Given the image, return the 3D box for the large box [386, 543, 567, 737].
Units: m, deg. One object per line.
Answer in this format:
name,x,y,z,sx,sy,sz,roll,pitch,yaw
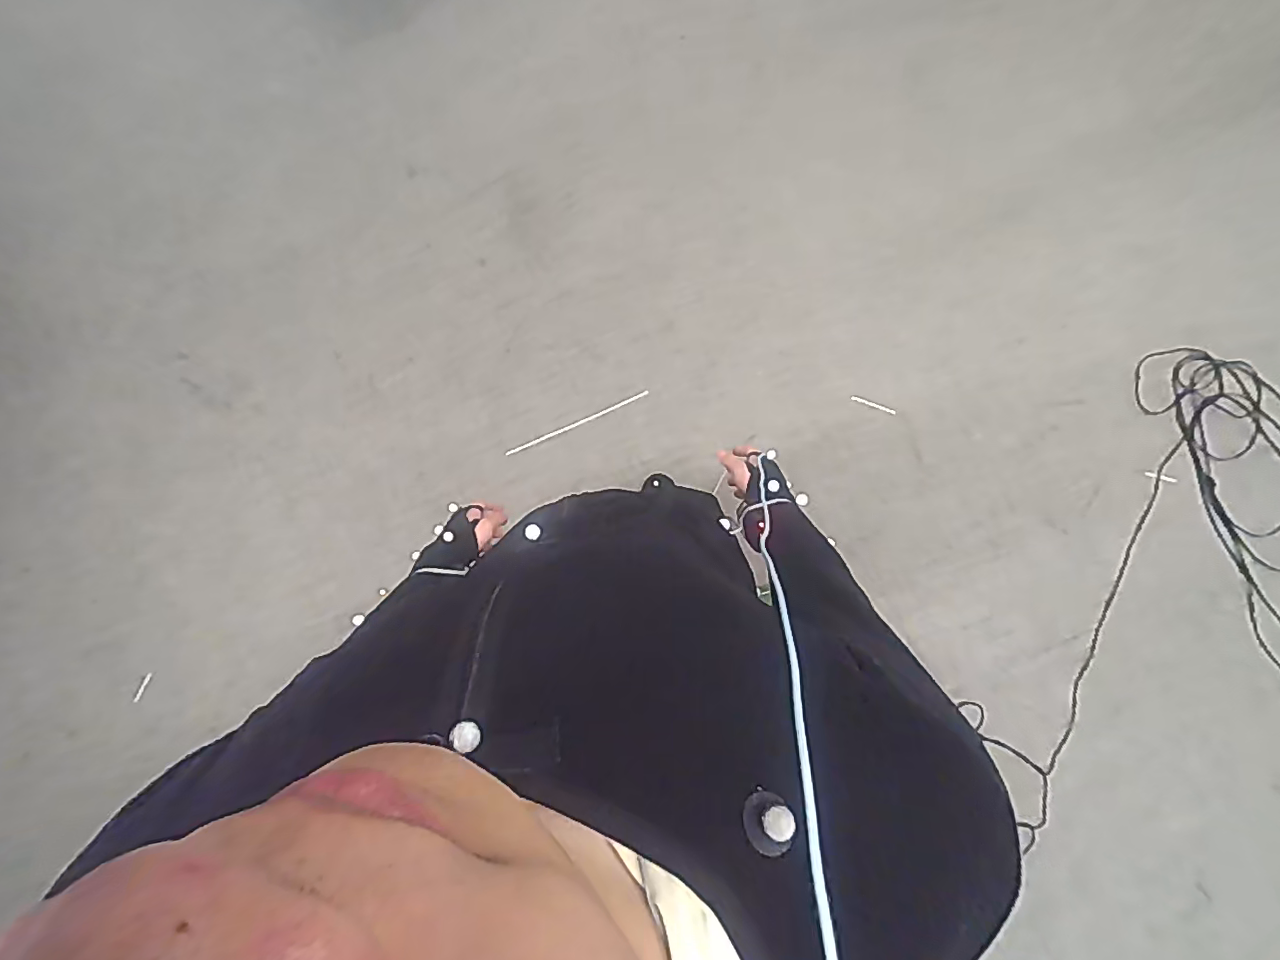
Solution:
large box,-0.435,0.423,1.520,0.320,0.320,0.408,-20,87,0
